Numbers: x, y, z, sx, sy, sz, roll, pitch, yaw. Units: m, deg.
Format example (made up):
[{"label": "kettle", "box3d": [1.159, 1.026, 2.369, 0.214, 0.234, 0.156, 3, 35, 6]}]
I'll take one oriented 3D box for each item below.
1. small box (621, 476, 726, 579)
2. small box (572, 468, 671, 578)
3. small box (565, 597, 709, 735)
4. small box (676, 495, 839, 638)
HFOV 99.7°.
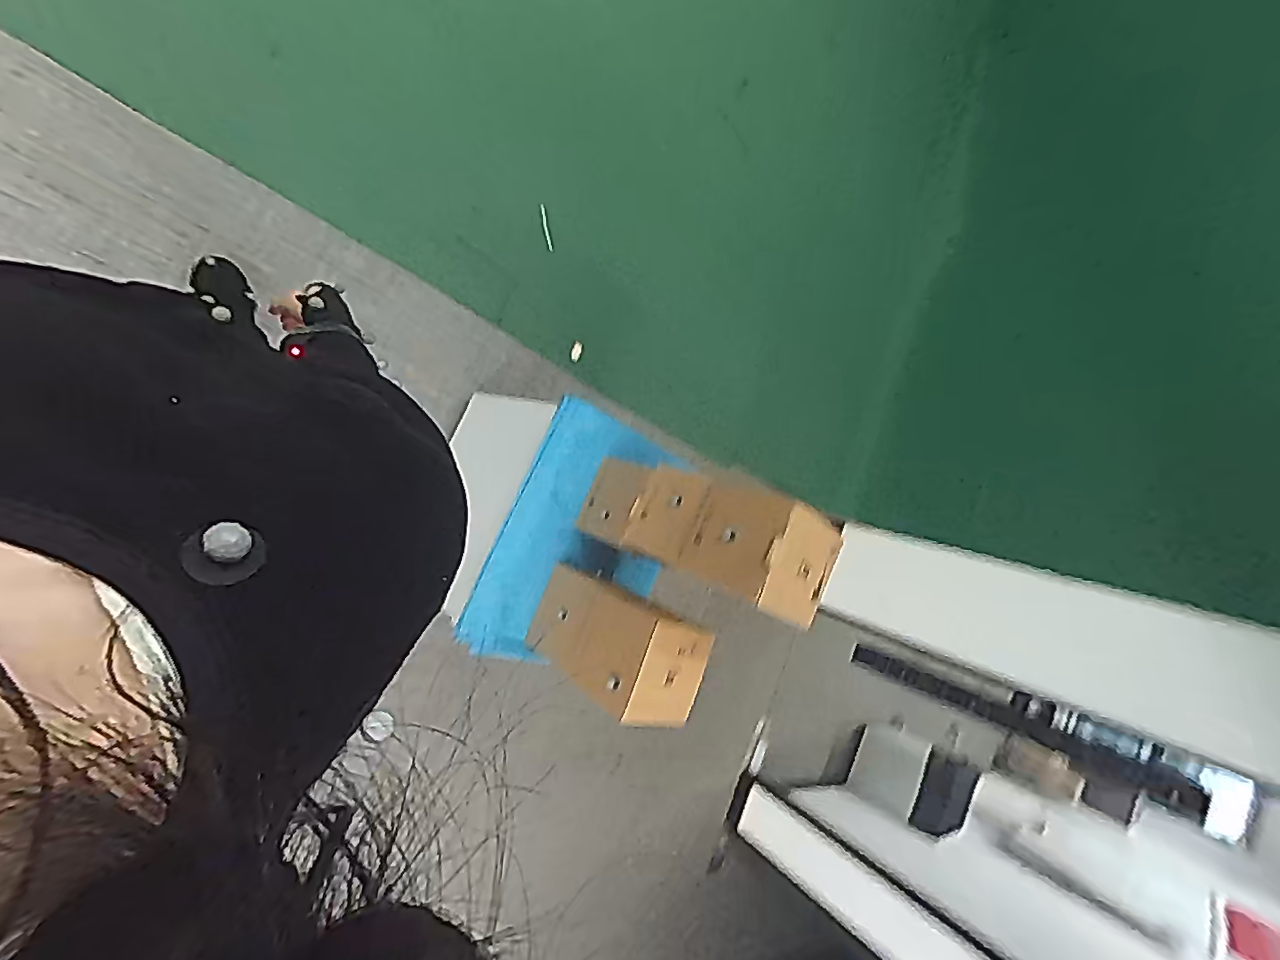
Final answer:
[{"label": "small box", "box3d": [0.095, 0.104, 1.020, 0.179, 0.176, 0.168, 33, 79, -41]}, {"label": "small box", "box3d": [-0.013, 0.085, 1.139, 0.179, 0.176, 0.168, 31, 81, -41]}, {"label": "small box", "box3d": [-0.012, 0.333, 0.977, 0.168, 0.176, 0.179, 27, 81, -41]}, {"label": "small box", "box3d": [0.190, 0.135, 0.889, 0.179, 0.176, 0.168, 32, 80, -40]}]
